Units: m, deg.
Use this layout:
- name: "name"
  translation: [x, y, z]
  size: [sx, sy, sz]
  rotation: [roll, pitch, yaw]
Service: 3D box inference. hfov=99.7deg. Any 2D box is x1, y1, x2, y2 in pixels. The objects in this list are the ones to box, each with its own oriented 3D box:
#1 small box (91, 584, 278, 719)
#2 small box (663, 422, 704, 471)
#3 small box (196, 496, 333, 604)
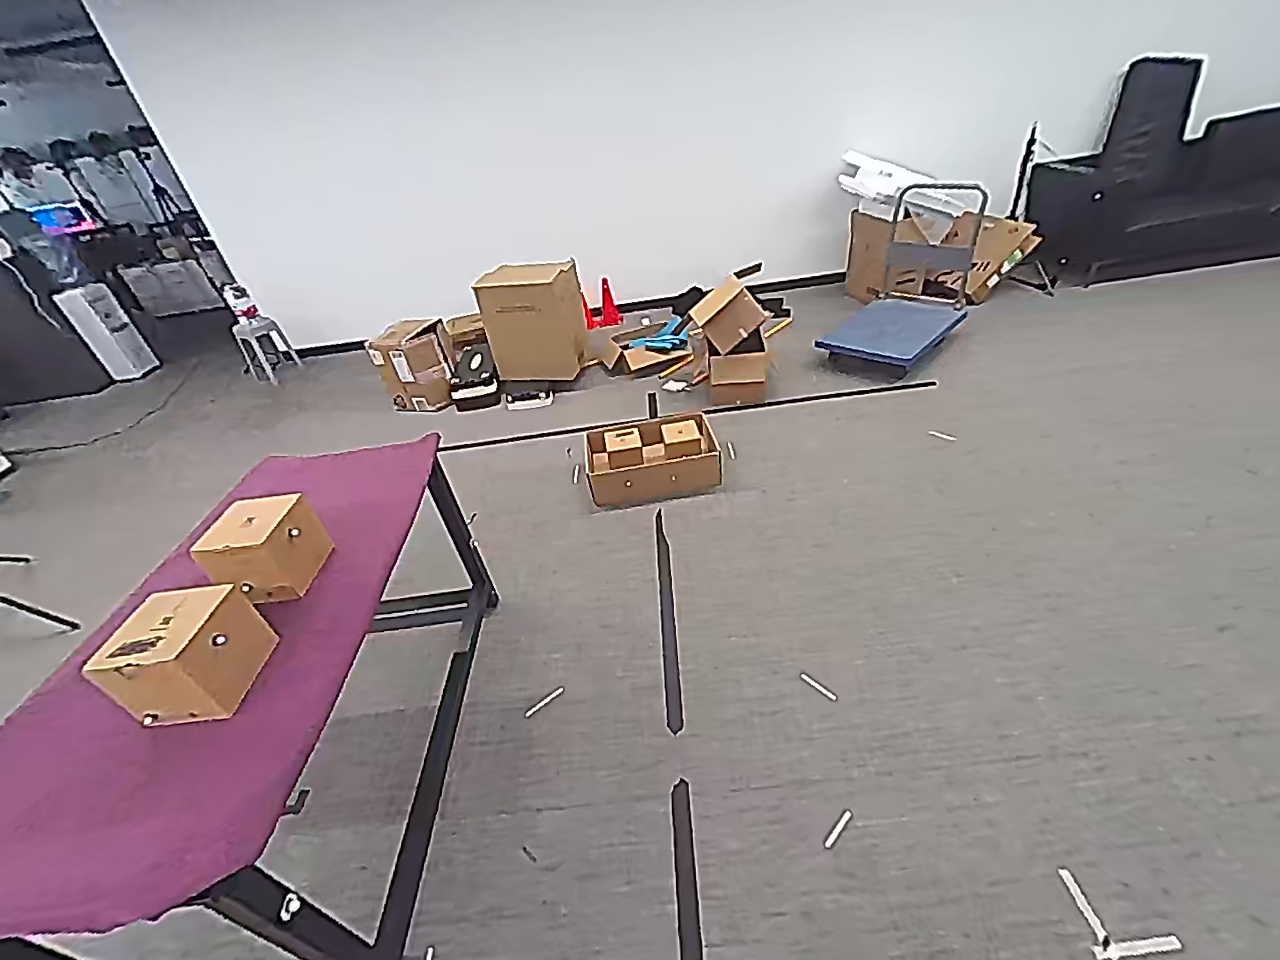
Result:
- name: "small box"
  translation: [-0.822, 0.322, 1.003]
  size: [0.168, 0.176, 0.179]
  rotation: [-7, 35, 3]
- name: "small box"
  translation: [0.209, -0.157, 2.605]
  size: [0.168, 0.176, 0.179]
  rotation: [-9, 34, 0]
- name: "small box"
  translation: [-0.839, 0.160, 1.236]
  size: [0.168, 0.176, 0.179]
  rotation: [-7, 36, 3]
